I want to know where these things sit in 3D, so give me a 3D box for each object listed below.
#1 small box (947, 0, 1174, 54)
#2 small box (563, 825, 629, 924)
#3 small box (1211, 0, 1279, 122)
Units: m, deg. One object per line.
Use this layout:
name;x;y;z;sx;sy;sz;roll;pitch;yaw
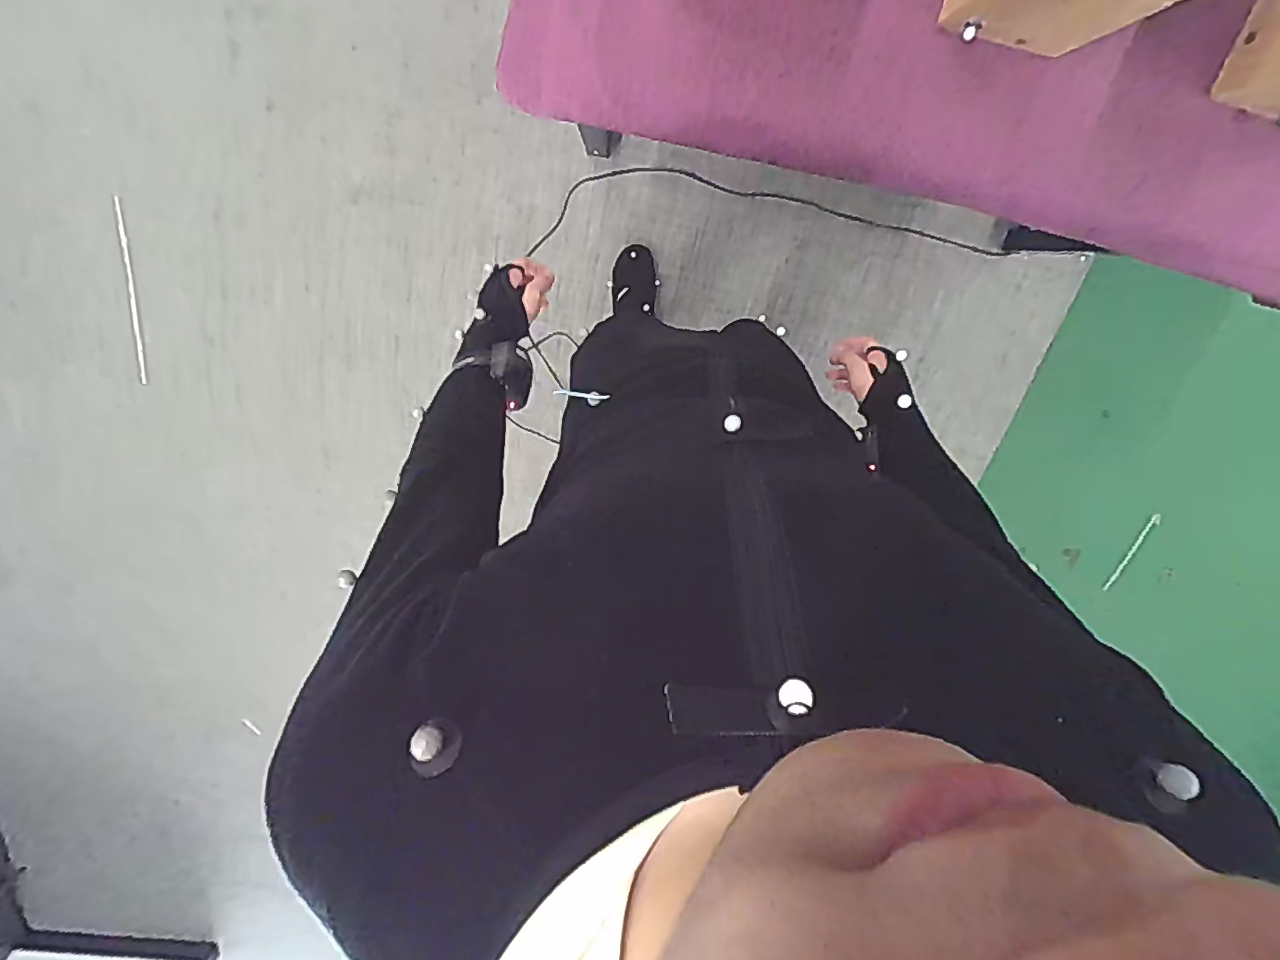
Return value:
small box;0.466;-0.595;0.574;0.168;0.176;0.179;9;112;-7
small box;-0.131;1.204;1.655;0.168;0.176;0.179;13;111;-7
small box;0.849;-0.528;0.619;0.179;0.176;0.168;10;112;-7
